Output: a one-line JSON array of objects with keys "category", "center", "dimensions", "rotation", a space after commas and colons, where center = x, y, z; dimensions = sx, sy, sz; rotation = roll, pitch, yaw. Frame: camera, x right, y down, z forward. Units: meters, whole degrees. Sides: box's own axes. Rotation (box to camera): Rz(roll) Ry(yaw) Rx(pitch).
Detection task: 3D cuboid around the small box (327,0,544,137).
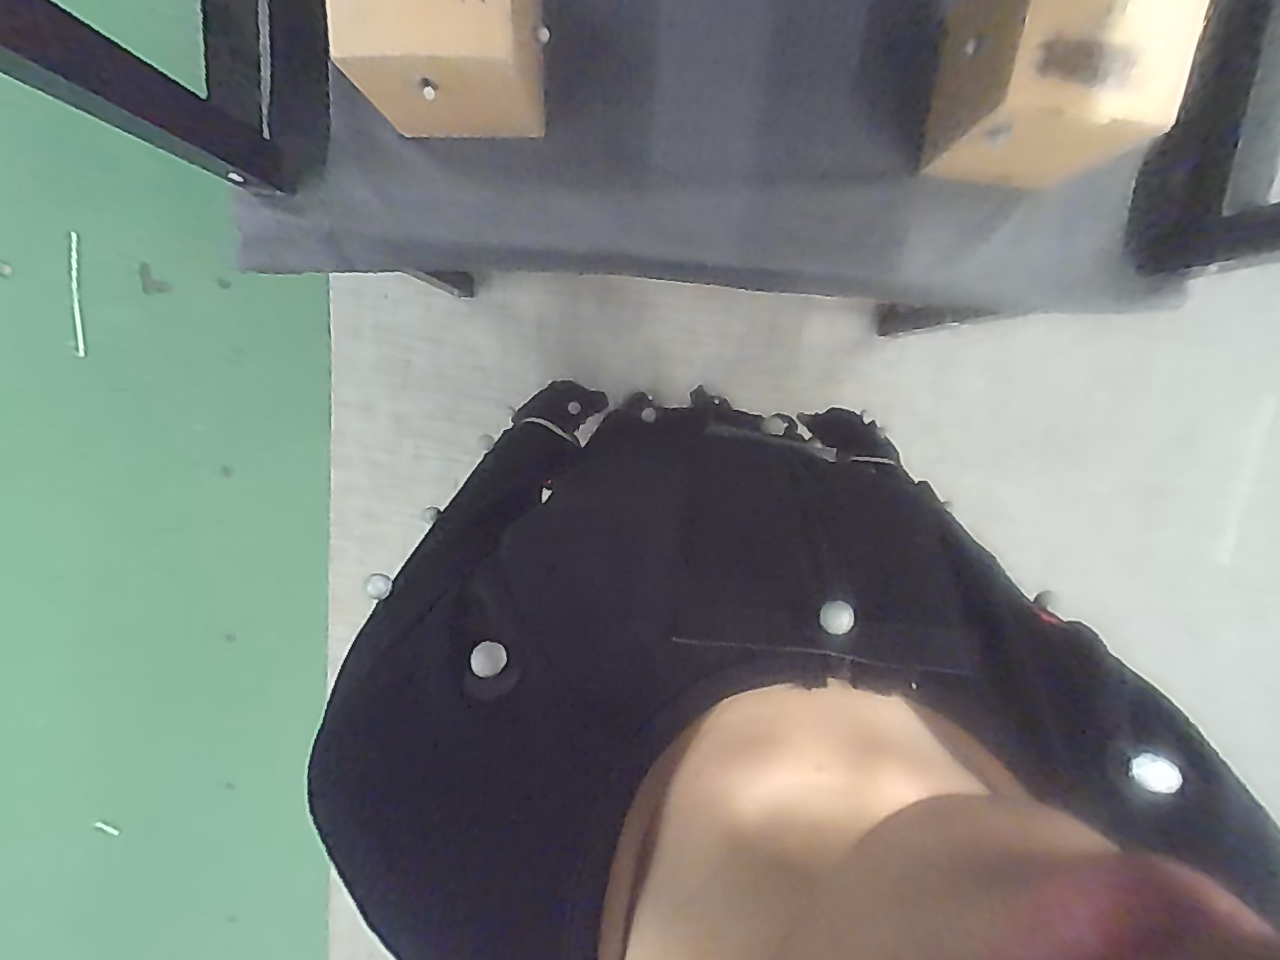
[{"category": "small box", "center": [-0.206, -0.491, 0.577], "dimensions": [0.179, 0.176, 0.168], "rotation": [0, 101, 0]}]
